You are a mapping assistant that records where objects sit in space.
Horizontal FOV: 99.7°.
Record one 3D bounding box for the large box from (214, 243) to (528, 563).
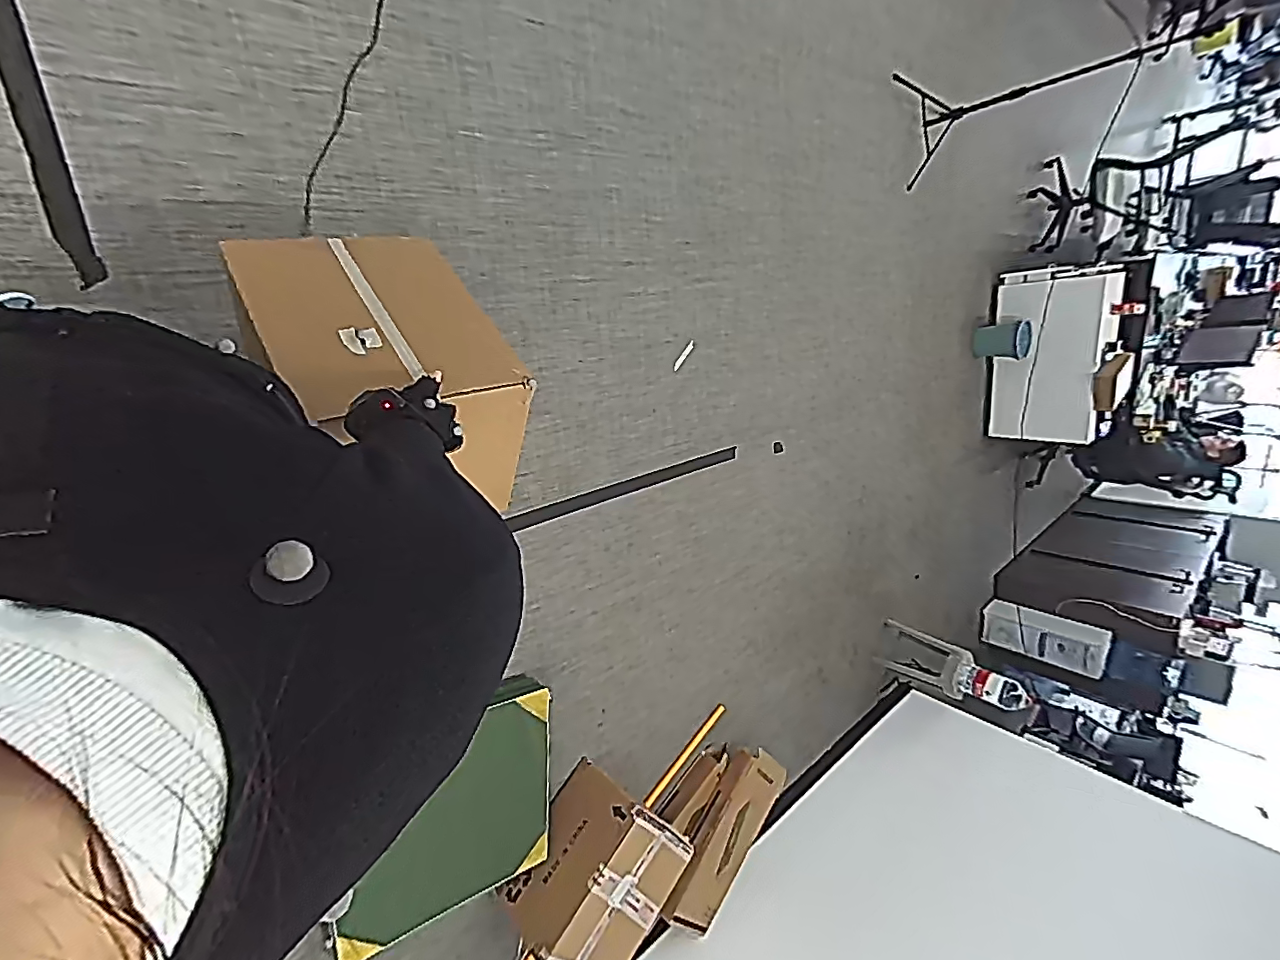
[{"bbox_3d":[-0.440,-0.142,0.901,0.320,0.408,0.320,-20,151,-35],"label":"large box"}]
